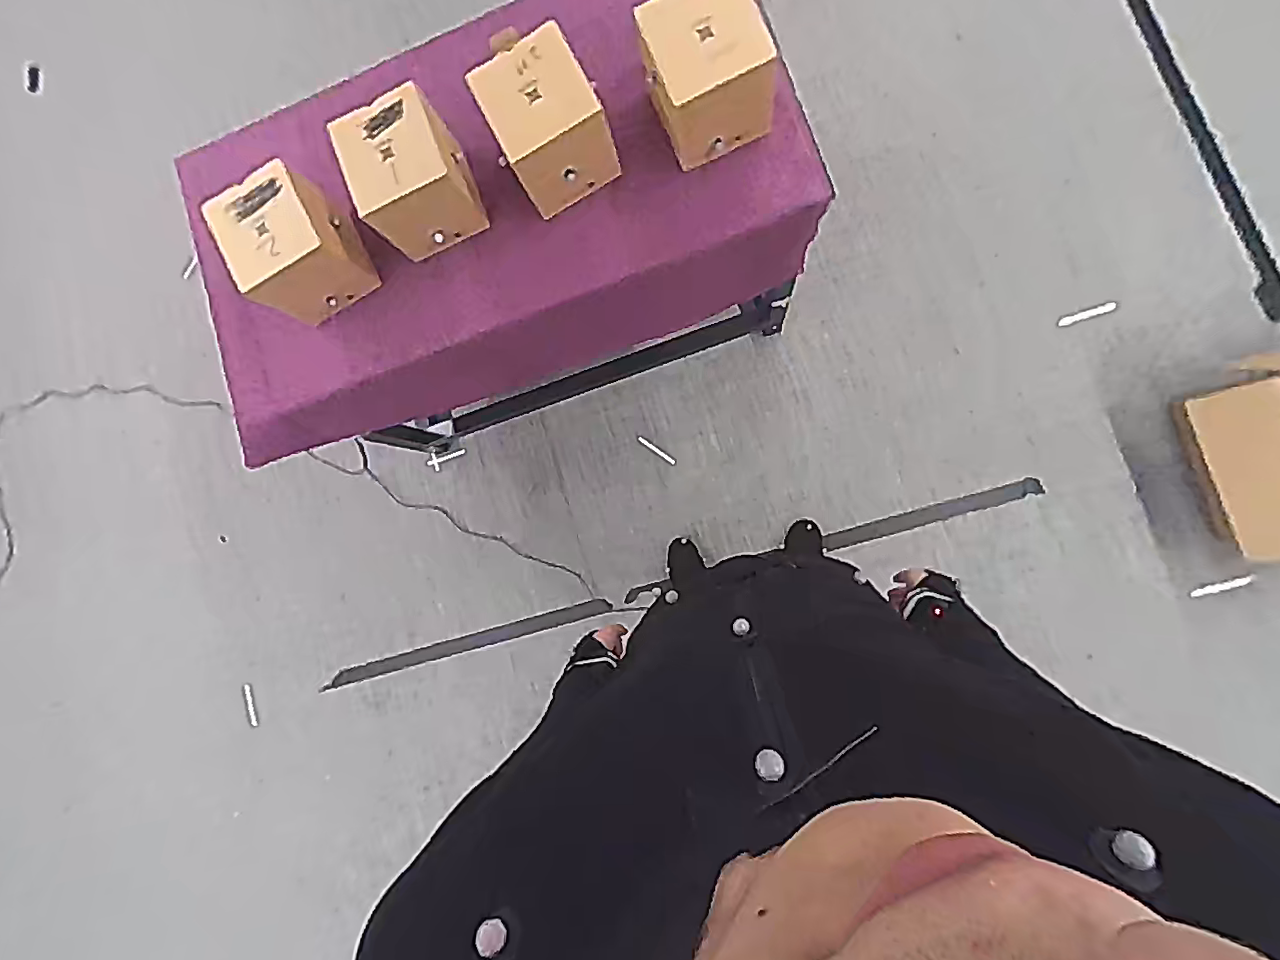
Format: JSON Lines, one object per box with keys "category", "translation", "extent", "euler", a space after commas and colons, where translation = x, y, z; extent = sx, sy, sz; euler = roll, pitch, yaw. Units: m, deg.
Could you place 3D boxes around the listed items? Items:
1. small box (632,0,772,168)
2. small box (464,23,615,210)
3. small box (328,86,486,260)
{"category": "small box", "translation": [0.102, -0.663, 0.885], "extent": [0.168, 0.176, 0.179], "euler": [-22, 83, 8]}
{"category": "small box", "translation": [-0.160, -0.598, 0.922], "extent": [0.168, 0.176, 0.179], "euler": [-28, 83, 6]}
{"category": "small box", "translation": [-0.402, -0.529, 0.957], "extent": [0.168, 0.176, 0.179], "euler": [-23, 84, 7]}
